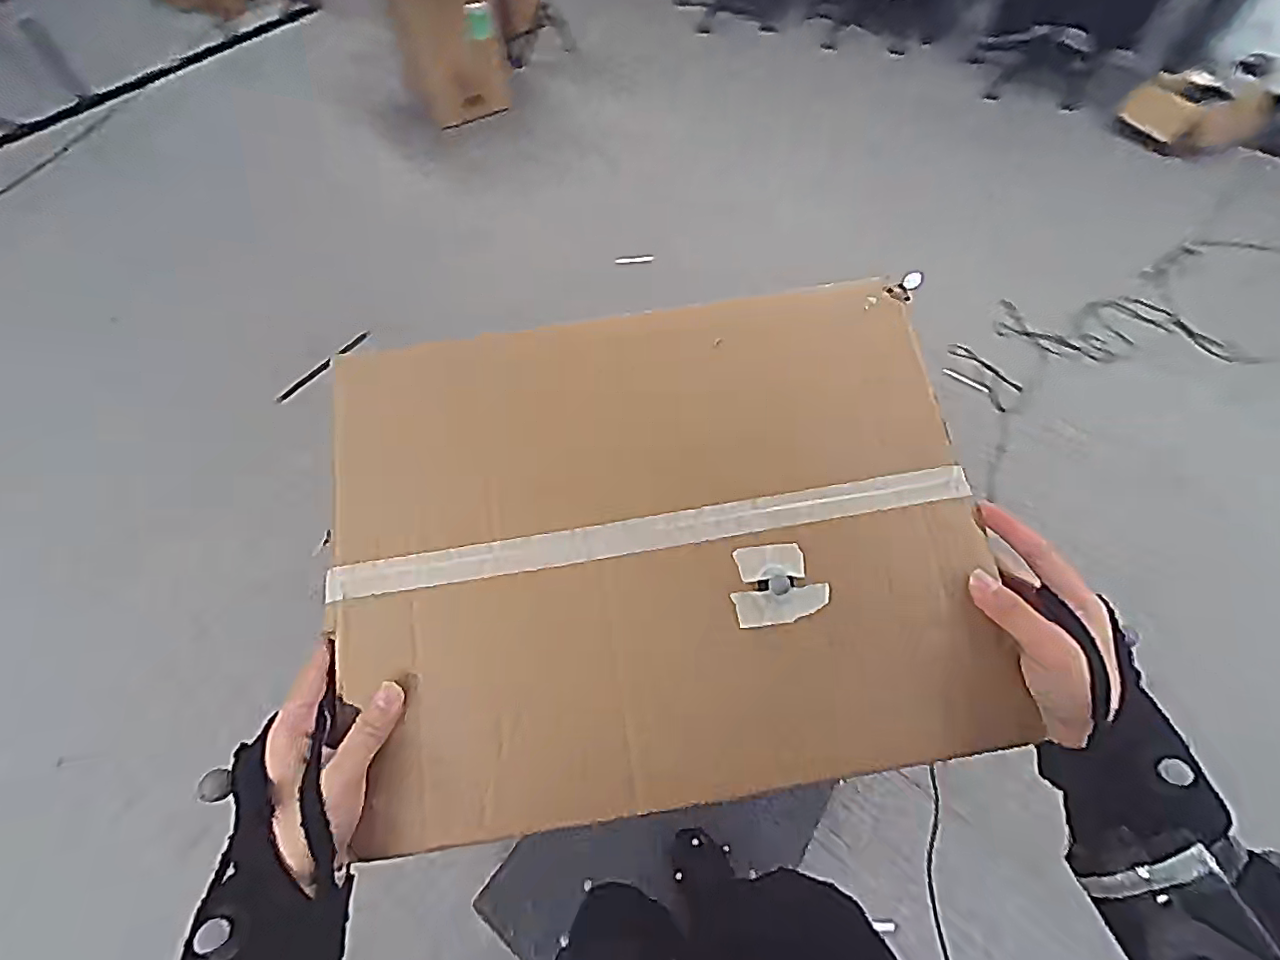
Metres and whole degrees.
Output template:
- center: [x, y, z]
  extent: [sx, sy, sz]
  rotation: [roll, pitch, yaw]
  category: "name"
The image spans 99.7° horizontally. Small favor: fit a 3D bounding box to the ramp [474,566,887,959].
- center: [0.163, 0.660, 1.230]
  extent: [0.509, 0.206, 0.991]
  rotation: [31, 65, 19]
  category: "ramp"
